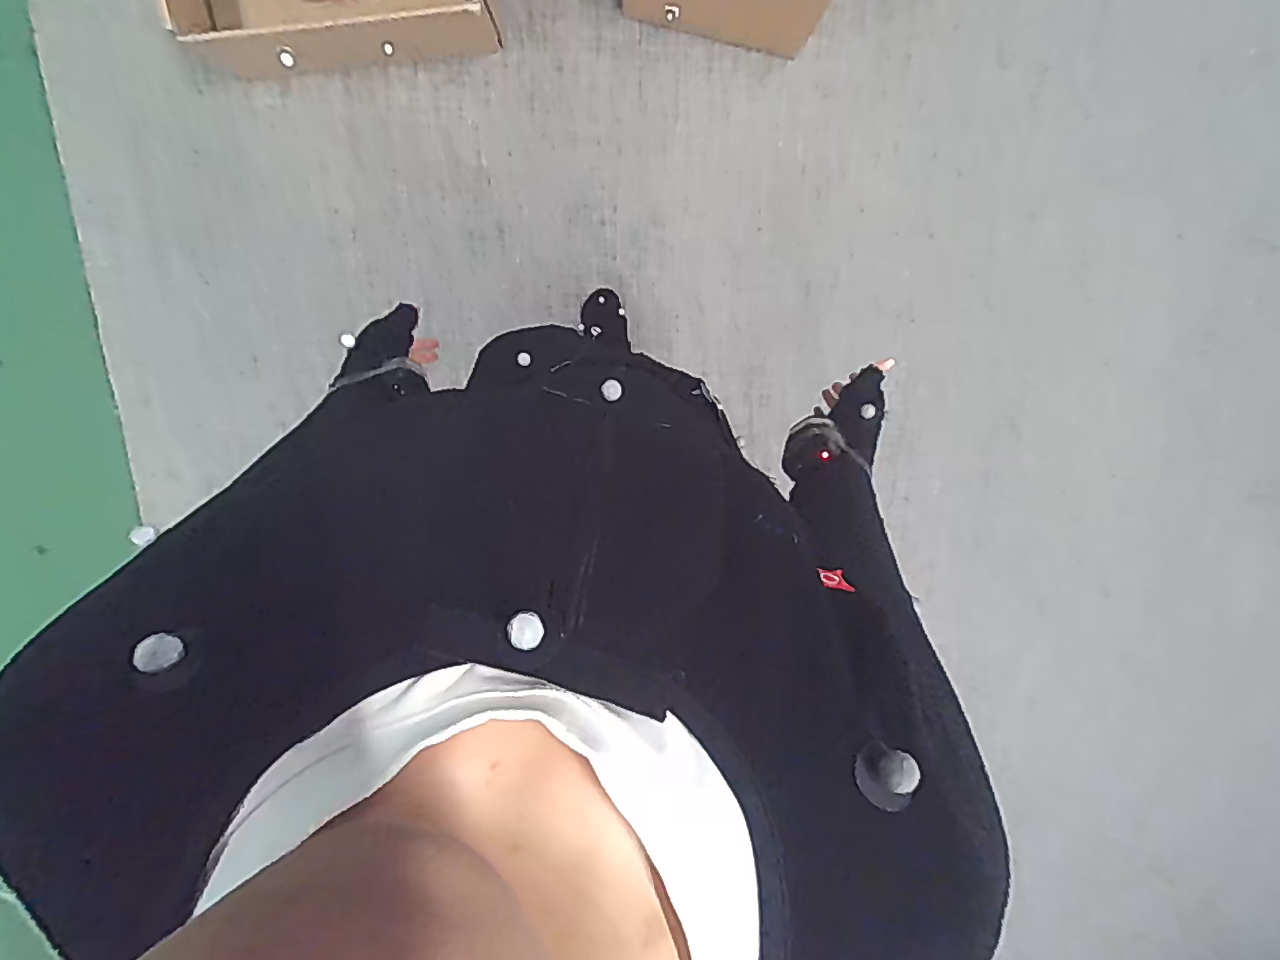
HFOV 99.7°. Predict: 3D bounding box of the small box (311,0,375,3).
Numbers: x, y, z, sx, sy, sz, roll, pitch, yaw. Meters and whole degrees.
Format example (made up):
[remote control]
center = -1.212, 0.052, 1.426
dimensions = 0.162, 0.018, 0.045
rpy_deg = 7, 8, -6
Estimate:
[small box]
center = -0.620, -1.077, 1.056
dimensions = 0.179, 0.176, 0.168
rpy_deg = -5, 105, -1
